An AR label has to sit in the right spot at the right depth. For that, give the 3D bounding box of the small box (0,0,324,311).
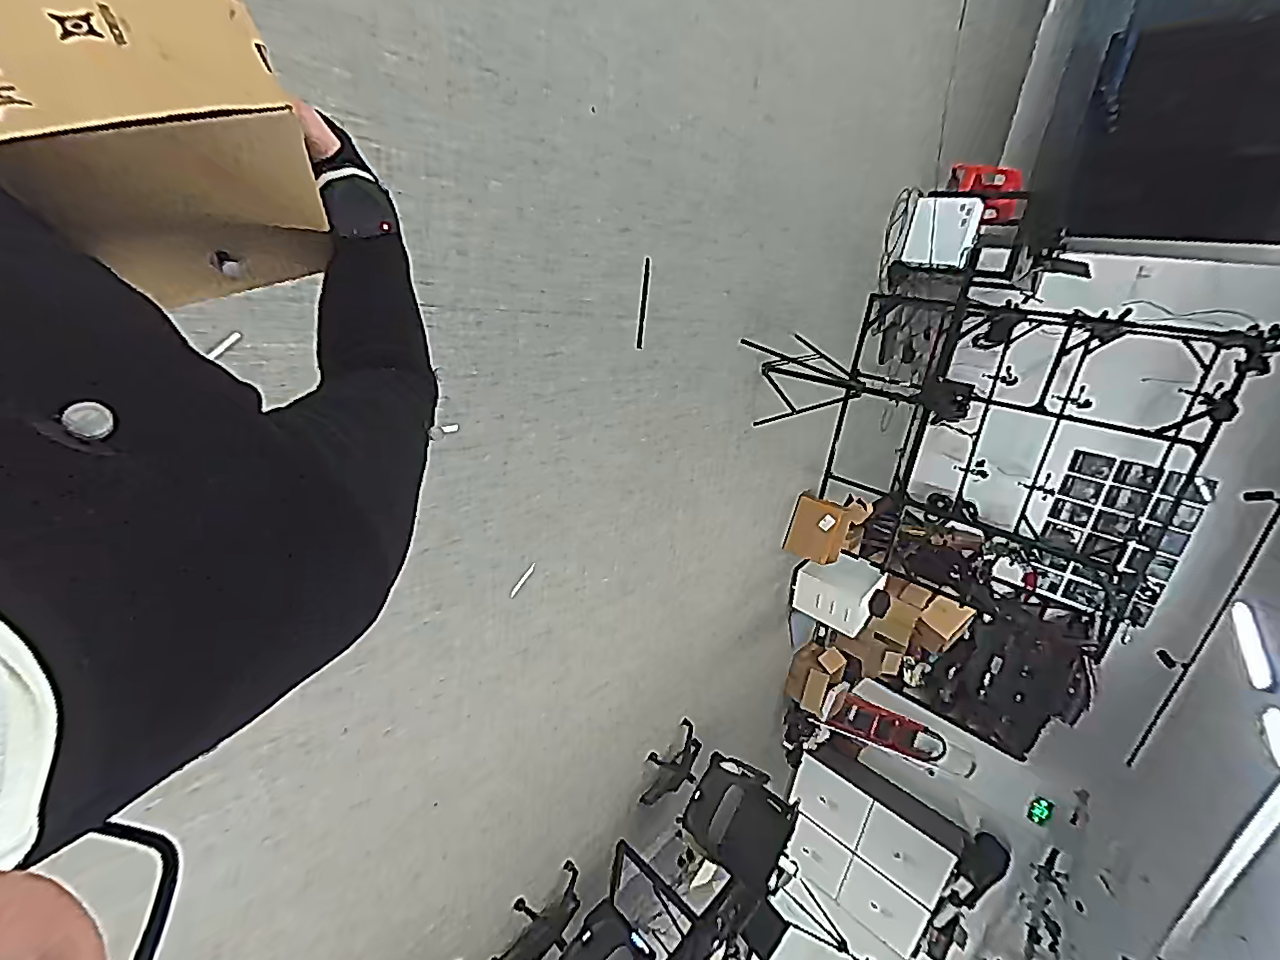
[{"bbox_3d":[-0.385,-0.270,0.441,0.179,0.168,0.176,-27,171,-25],"label":"small box"}]
